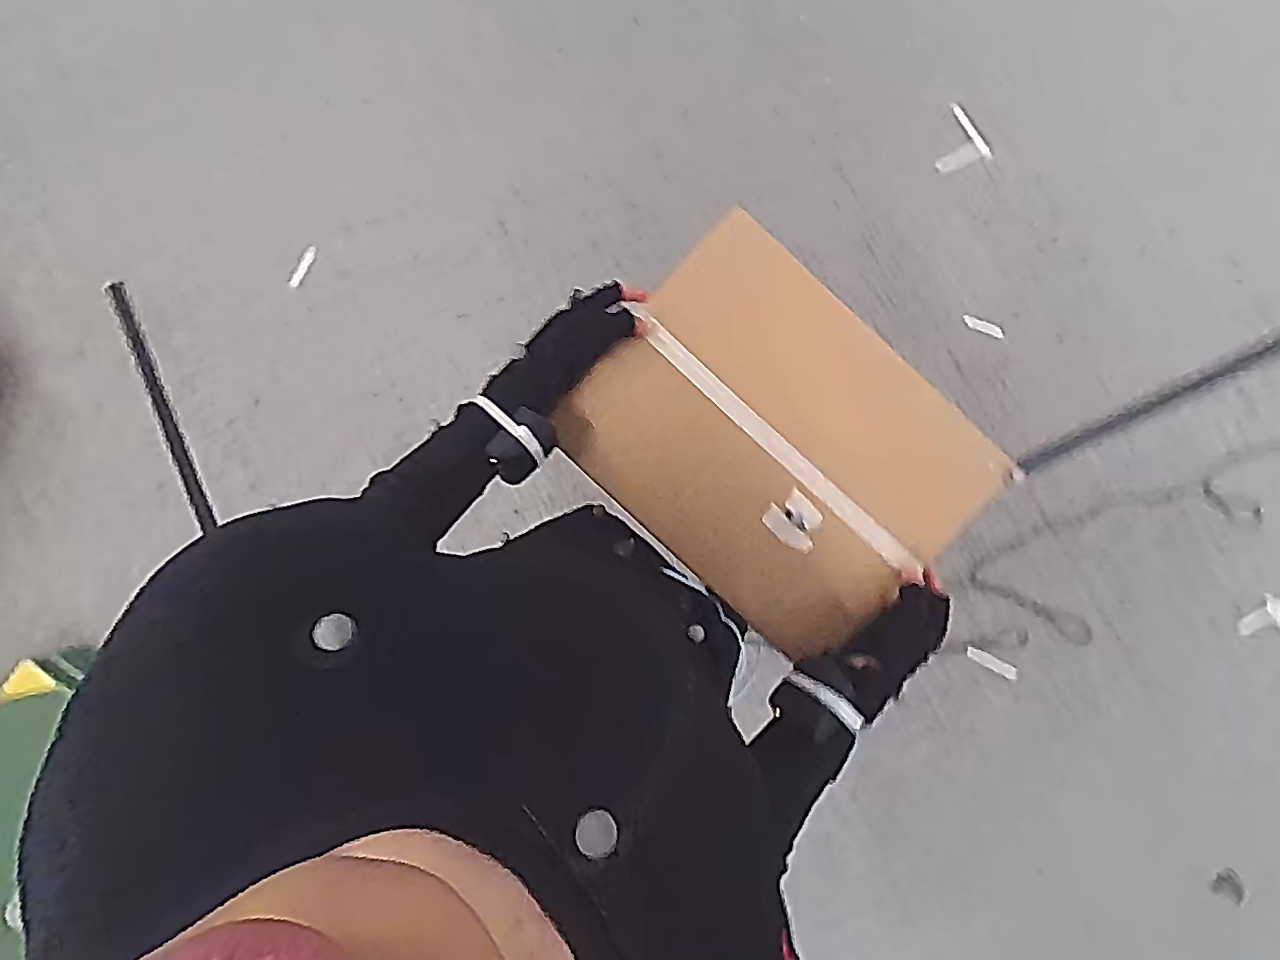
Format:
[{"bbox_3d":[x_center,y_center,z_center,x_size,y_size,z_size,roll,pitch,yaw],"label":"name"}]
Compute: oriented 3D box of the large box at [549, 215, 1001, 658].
[{"bbox_3d":[0.143,-0.050,0.732,0.408,0.320,0.320,43,92,-1],"label":"large box"}]
